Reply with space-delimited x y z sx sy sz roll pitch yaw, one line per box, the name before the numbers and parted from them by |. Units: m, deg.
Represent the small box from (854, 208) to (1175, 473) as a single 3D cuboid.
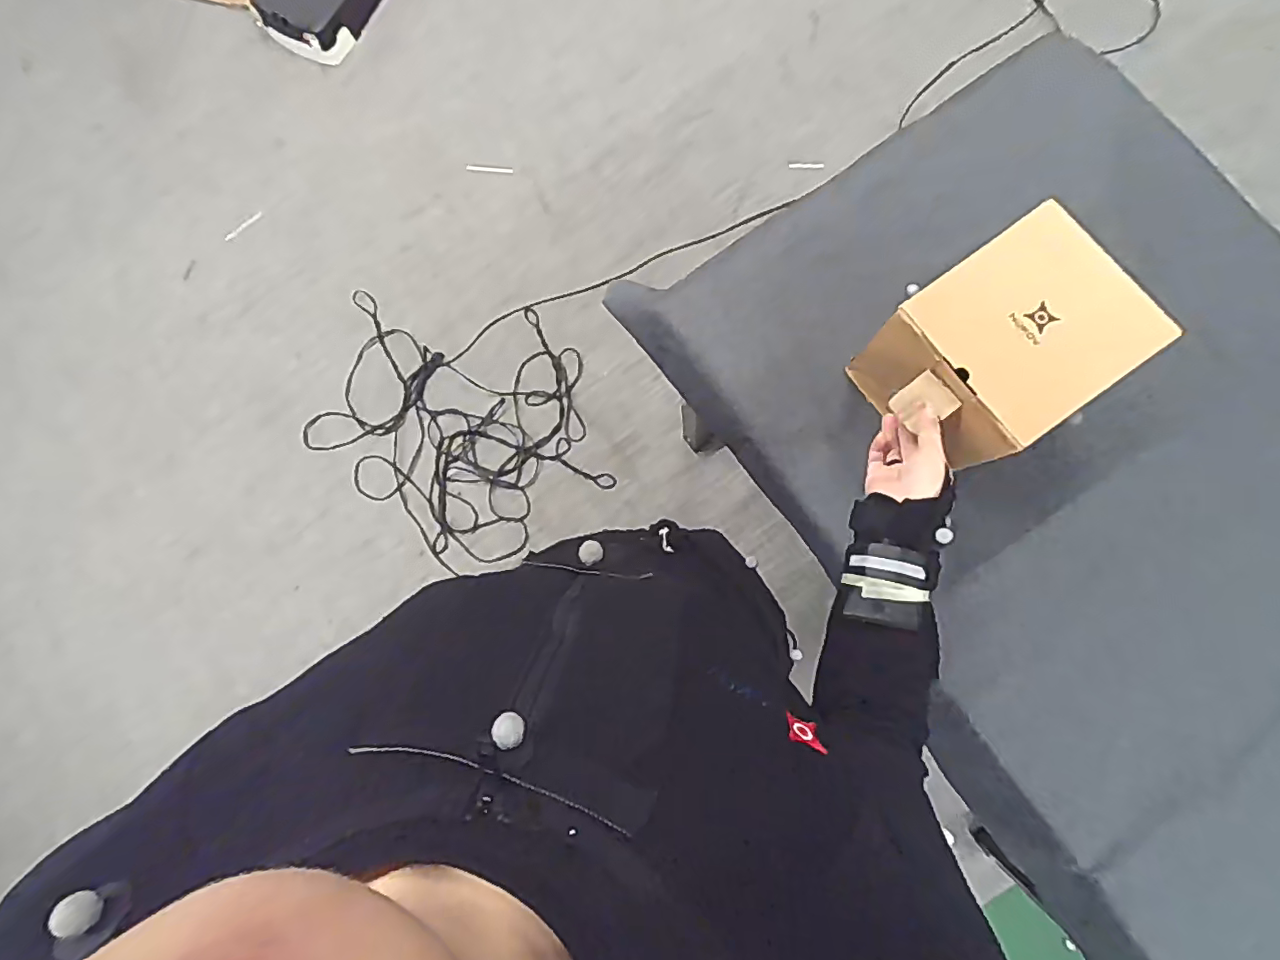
small box | 0.359 -0.127 0.561 0.179 0.176 0.168 -36 81 -1
